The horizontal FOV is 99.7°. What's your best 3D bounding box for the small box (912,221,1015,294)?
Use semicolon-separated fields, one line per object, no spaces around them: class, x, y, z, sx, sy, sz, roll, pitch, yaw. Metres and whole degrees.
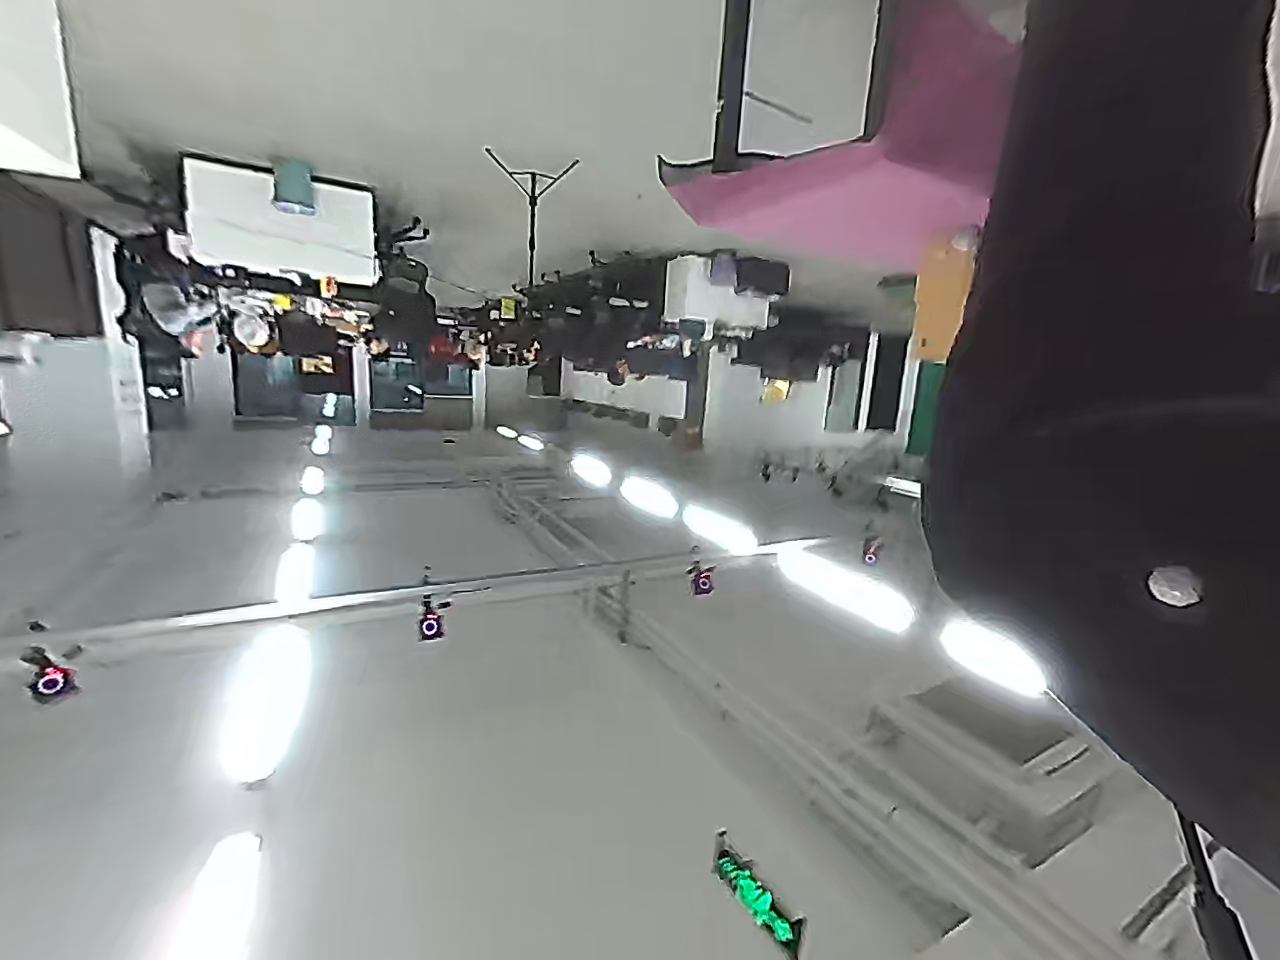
small box;0.903;-0.612;1.509;0.179;0.176;0.168;0;-168;-19

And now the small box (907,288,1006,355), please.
small box;0.912;-0.453;1.558;0.168;0.176;0.179;-3;-167;-23
